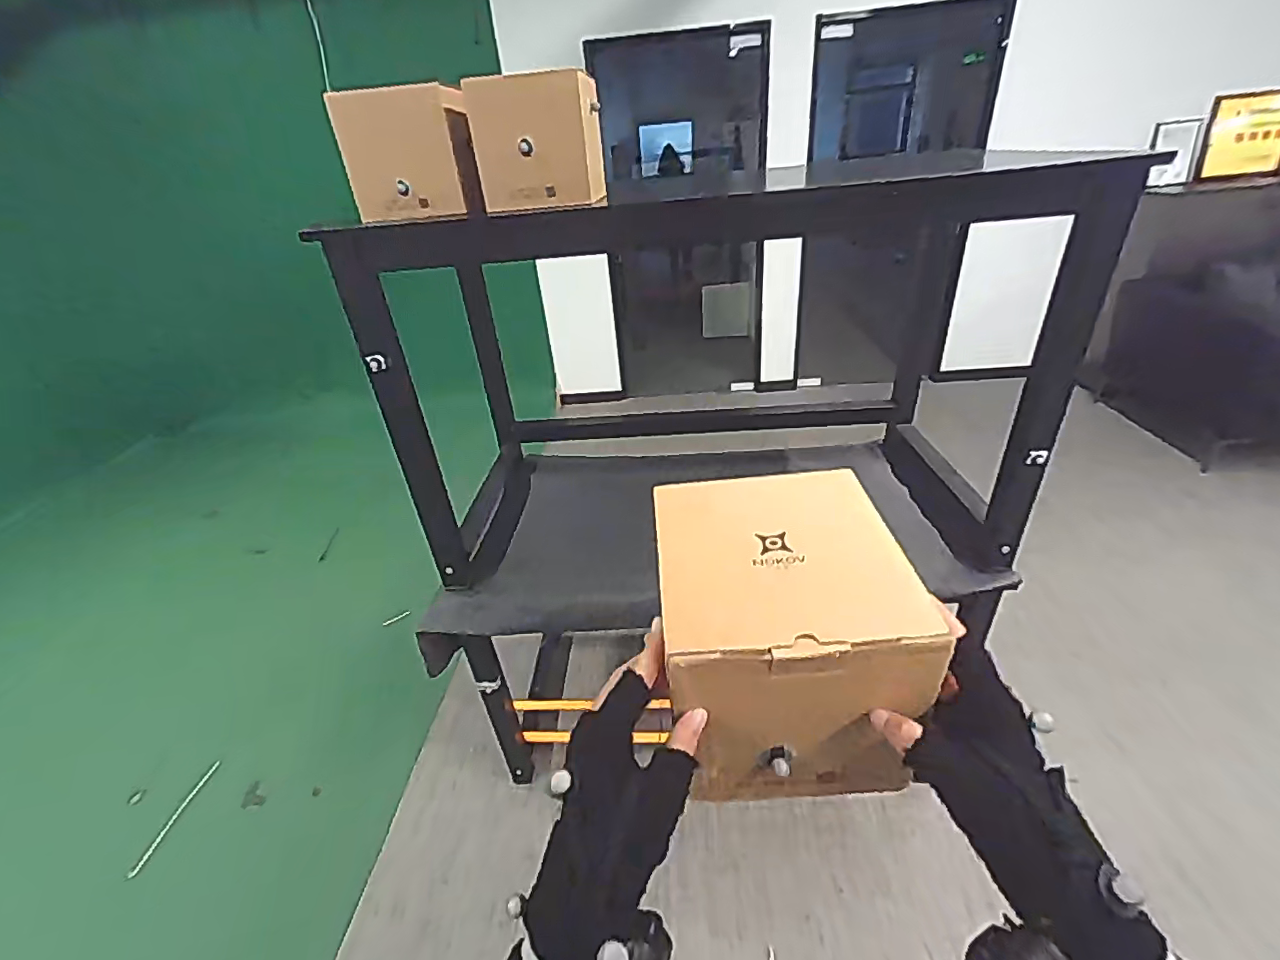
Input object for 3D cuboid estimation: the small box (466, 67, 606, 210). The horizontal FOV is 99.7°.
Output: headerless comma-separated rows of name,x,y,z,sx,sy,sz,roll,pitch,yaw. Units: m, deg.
small box,-0.148,-0.527,0.850,0.168,0.176,0.179,-2,31,5
